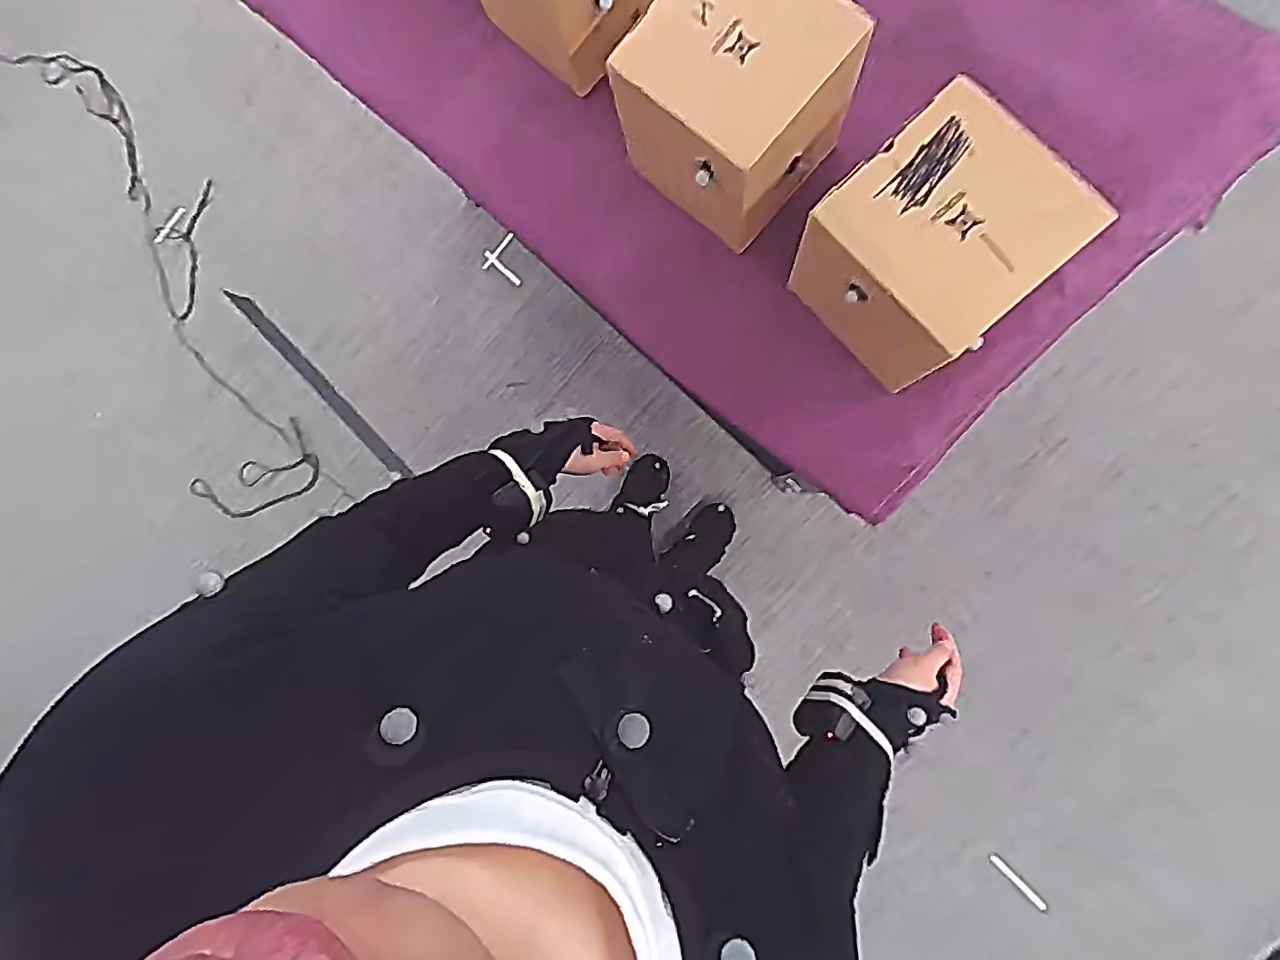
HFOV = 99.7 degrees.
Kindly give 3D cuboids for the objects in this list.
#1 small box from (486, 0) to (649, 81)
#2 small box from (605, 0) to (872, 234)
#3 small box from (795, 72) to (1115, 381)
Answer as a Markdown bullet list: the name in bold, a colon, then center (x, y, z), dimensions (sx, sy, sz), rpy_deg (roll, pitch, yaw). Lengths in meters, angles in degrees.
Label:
- **small box**: center (-0.088, -0.594, 0.592), dimensions (0.179, 0.176, 0.168), rpy_deg (44, 96, 8)
- **small box**: center (0.096, -0.387, 0.555), dimensions (0.179, 0.176, 0.168), rpy_deg (43, 94, 8)
- **small box**: center (0.273, -0.220, 0.523), dimensions (0.168, 0.176, 0.179), rpy_deg (-42, 83, 6)
